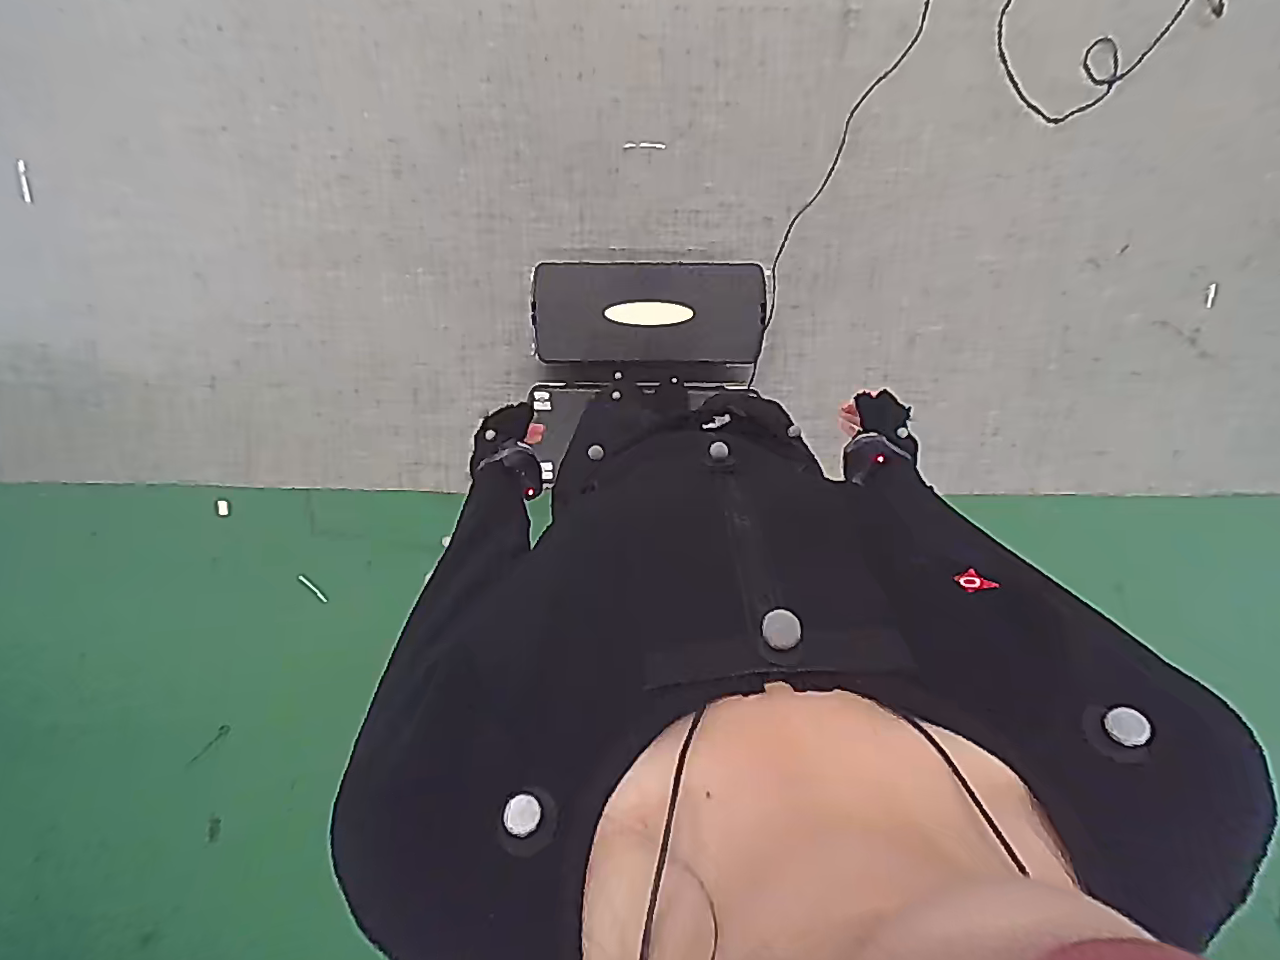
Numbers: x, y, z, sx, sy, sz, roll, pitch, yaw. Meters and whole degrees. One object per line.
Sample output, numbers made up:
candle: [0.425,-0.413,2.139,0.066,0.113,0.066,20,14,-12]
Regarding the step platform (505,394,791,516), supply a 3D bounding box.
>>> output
step platform: [0.017,-0.072,1.373,0.684,0.204,0.286,0,101,-2]
